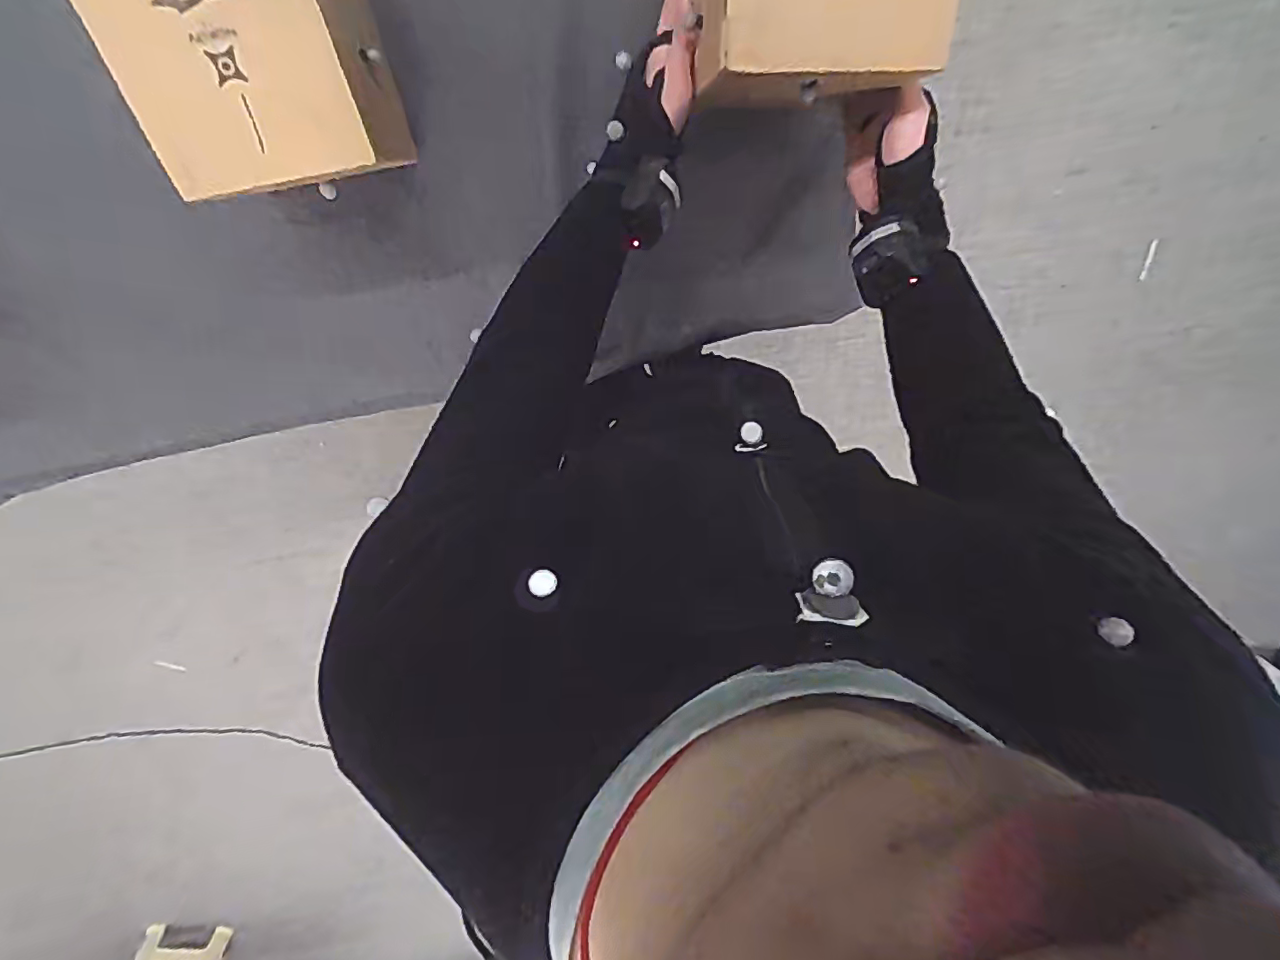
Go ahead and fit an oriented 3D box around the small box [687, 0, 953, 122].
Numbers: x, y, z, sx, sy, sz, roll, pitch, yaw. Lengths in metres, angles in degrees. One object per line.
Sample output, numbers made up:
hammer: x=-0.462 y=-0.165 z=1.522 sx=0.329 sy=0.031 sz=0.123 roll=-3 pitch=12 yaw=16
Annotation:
small box: x=0.138 y=-0.411 z=0.456 sx=0.179 sy=0.176 sz=0.168 roll=-6 pitch=118 yaw=-6
